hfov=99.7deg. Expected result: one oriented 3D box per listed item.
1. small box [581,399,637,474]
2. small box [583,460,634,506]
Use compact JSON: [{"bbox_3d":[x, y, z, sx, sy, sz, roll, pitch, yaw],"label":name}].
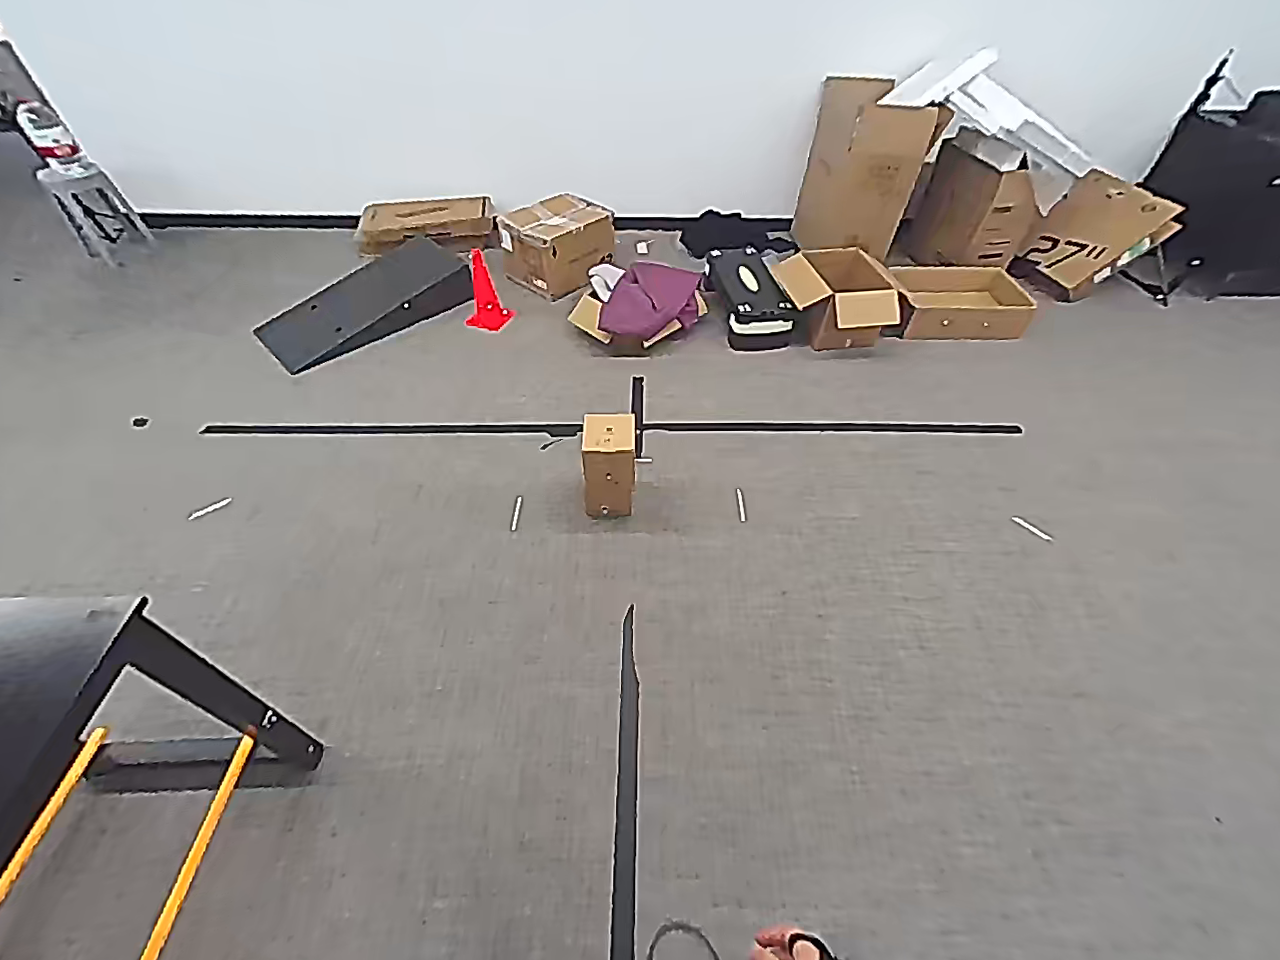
[{"bbox_3d":[-0.094,-0.137,1.701,0.168,0.176,0.179,-1,48,-1],"label":"small box"},{"bbox_3d":[-0.104,-0.032,1.828,0.168,0.176,0.179,-1,49,-1],"label":"small box"}]
